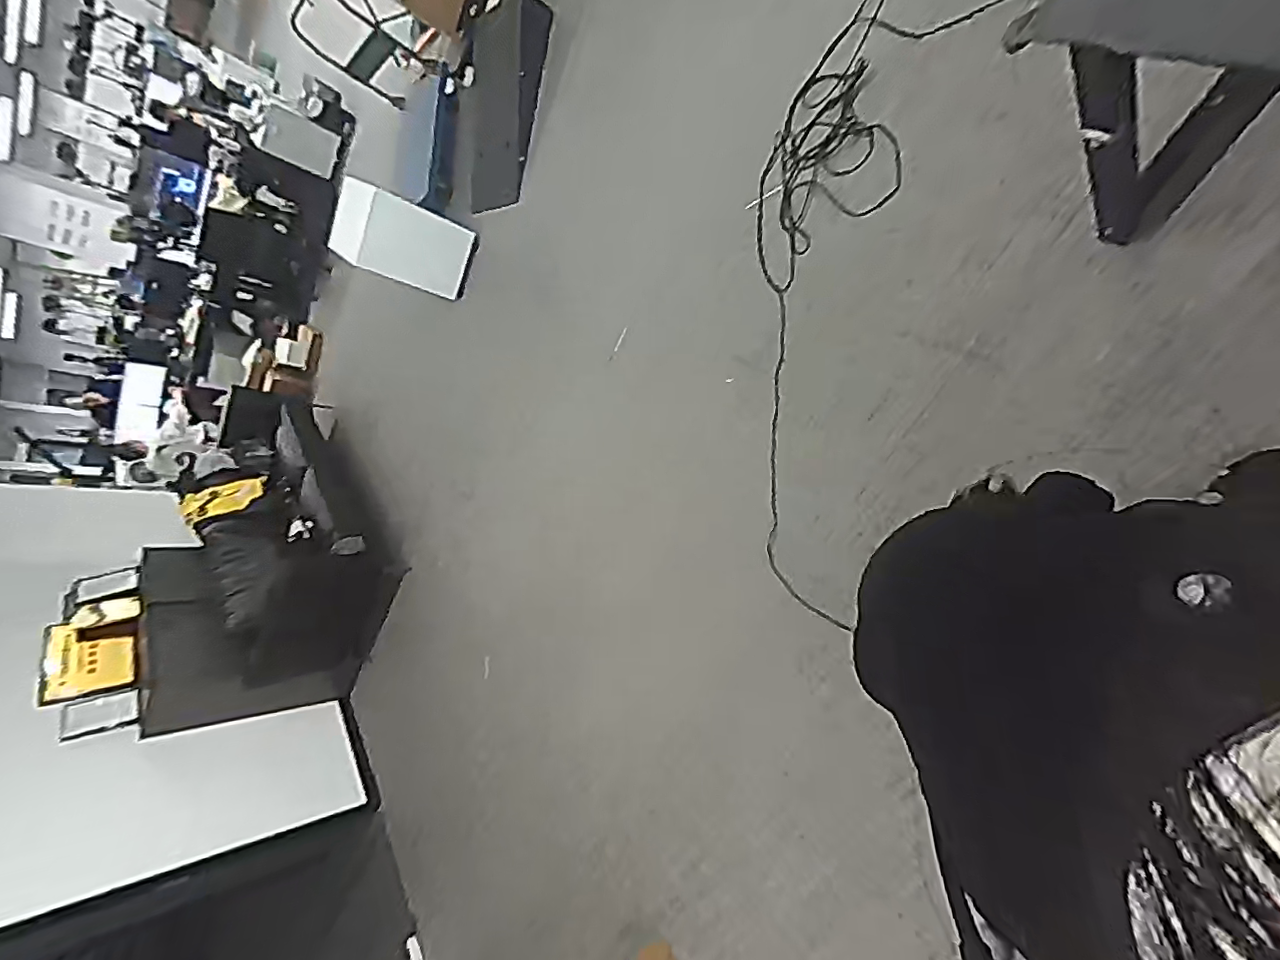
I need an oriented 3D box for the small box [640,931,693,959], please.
[{"bbox_3d":[0.073,1.662,1.792,0.168,0.176,0.179,45,115,35],"label":"small box"}]
